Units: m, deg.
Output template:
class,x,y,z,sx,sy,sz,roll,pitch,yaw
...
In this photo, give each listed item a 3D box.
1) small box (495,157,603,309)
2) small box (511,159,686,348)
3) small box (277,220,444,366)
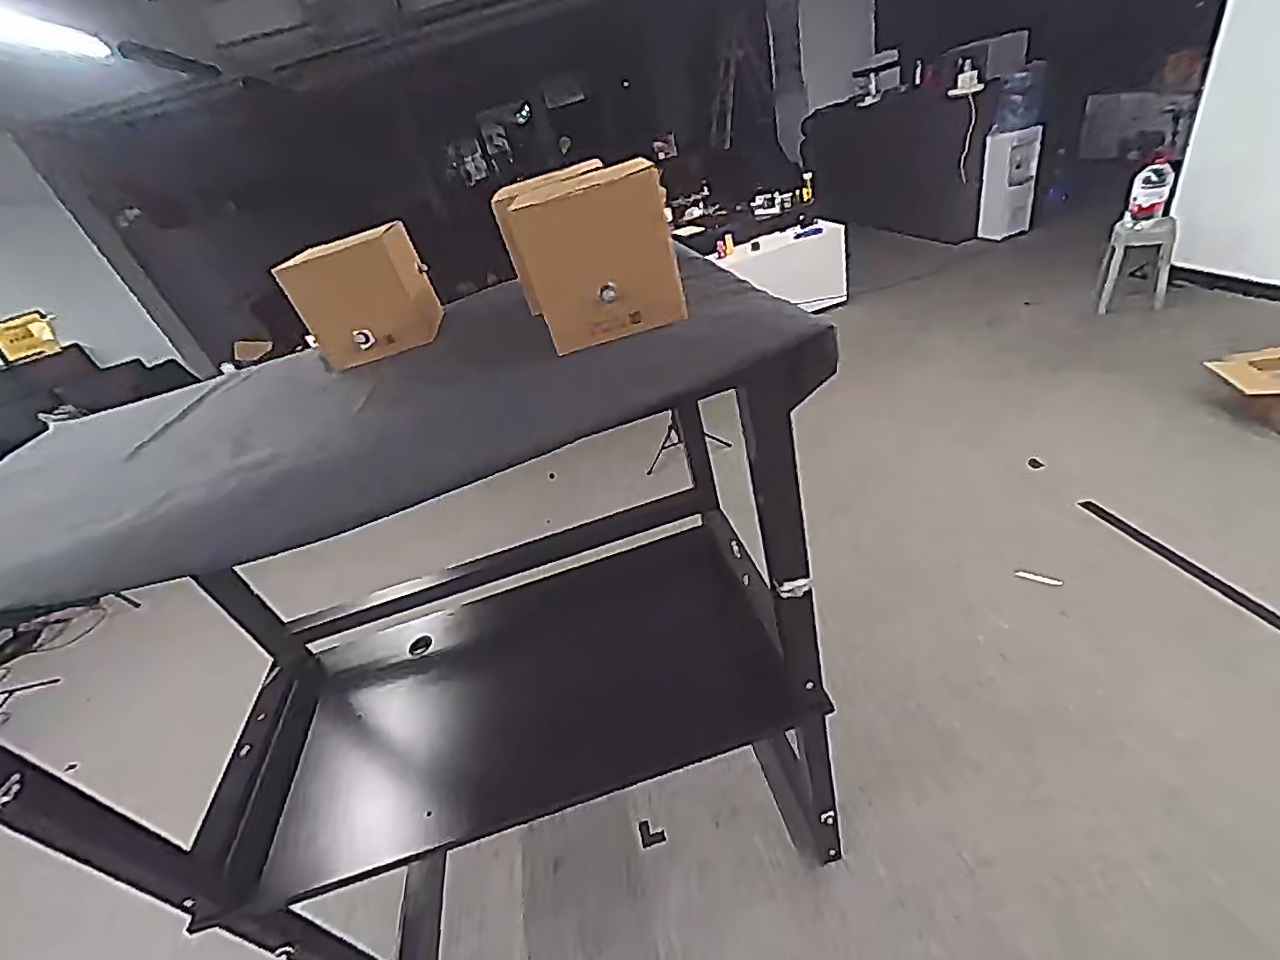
class,x,y,z,sx,sy,sz,roll,pitch,yaw
small box,-0.114,-0.388,0.859,0.168,0.176,0.179,-15,36,3
small box,-0.046,-0.286,0.685,0.168,0.176,0.179,-15,34,5
small box,-0.441,-0.307,0.890,0.168,0.176,0.179,-19,34,-1
